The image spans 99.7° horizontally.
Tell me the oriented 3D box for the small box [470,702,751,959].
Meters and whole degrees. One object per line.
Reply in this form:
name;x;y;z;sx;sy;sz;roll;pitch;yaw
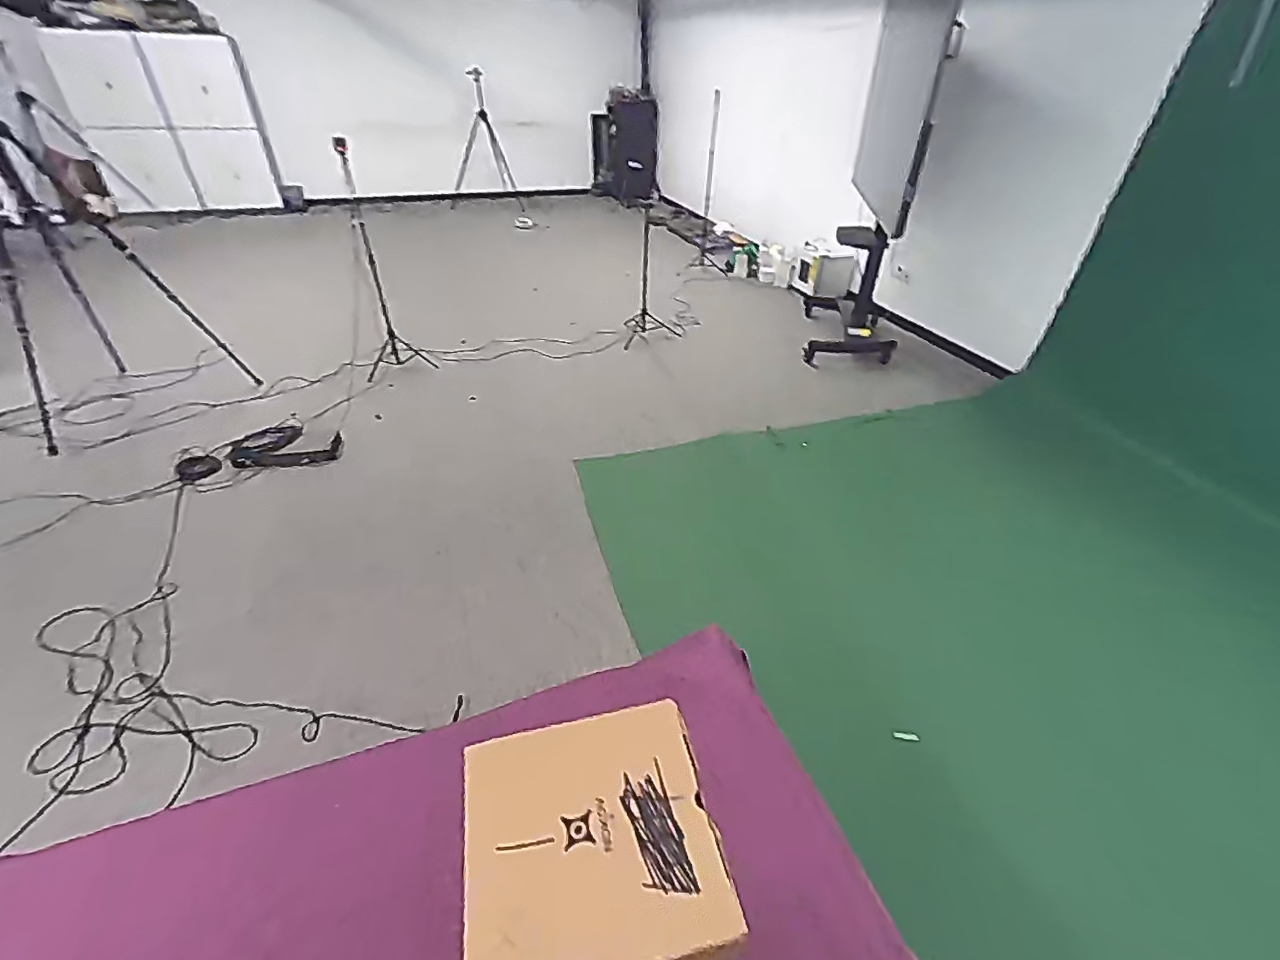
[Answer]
small box;-0.032;0.311;0.433;0.179;0.176;0.168;-8;39;-11
